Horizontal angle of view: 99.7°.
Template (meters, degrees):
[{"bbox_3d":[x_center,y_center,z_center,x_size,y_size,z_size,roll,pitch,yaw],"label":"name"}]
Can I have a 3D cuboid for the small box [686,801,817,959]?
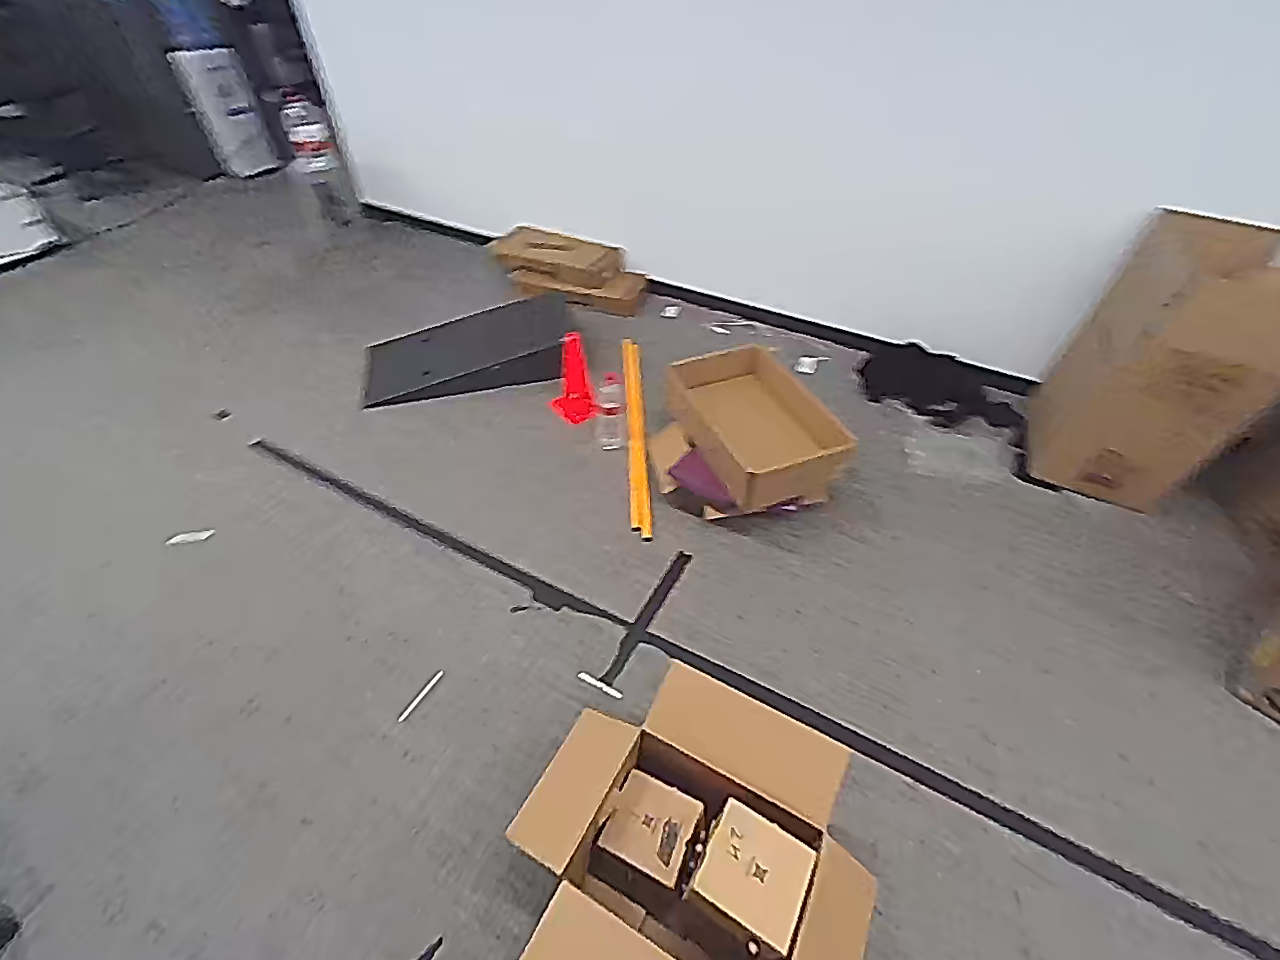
[{"bbox_3d":[0.201,0.743,1.005,0.179,0.176,0.168,24,49,20],"label":"small box"}]
